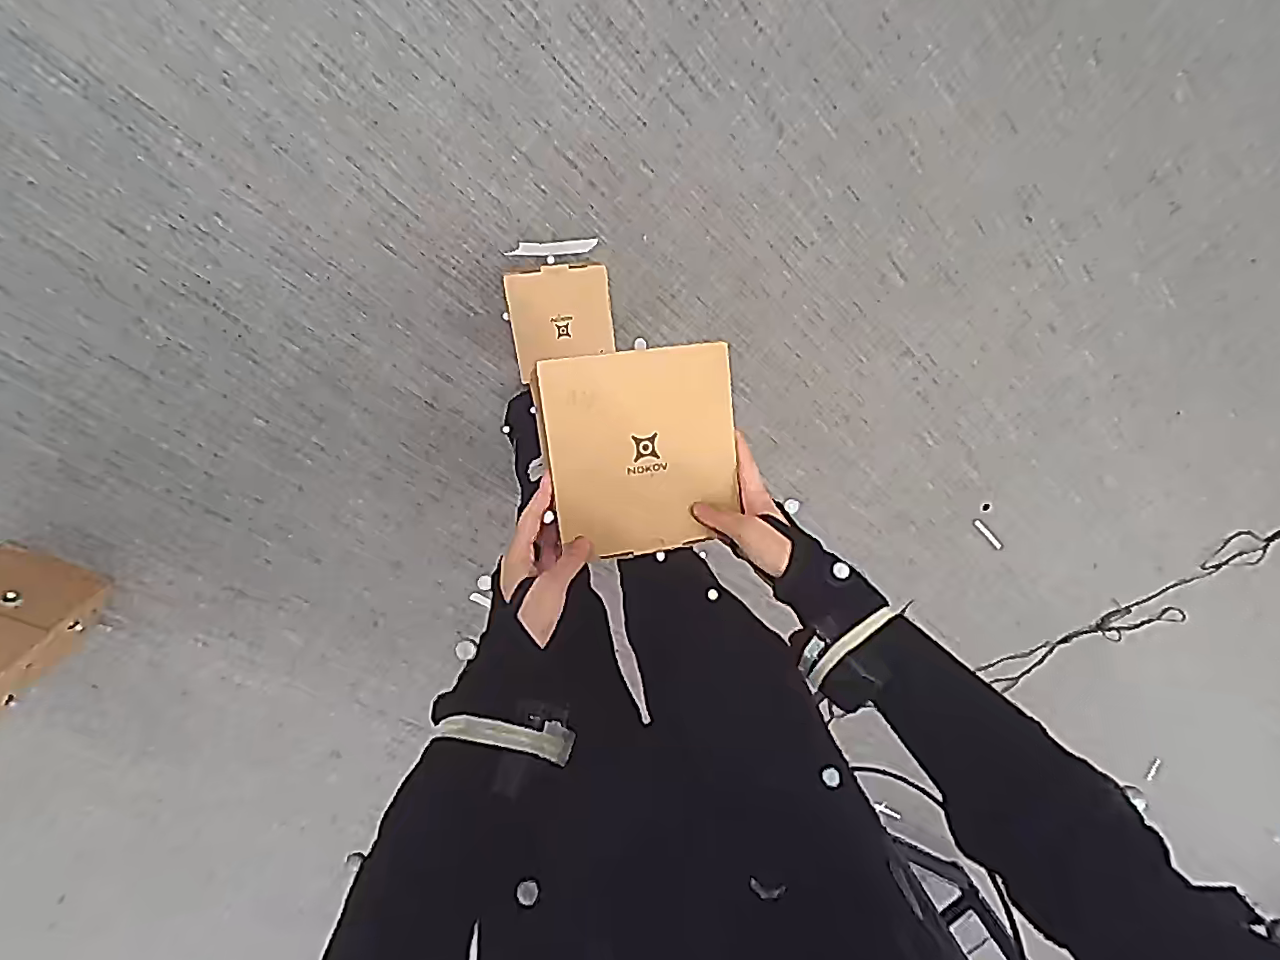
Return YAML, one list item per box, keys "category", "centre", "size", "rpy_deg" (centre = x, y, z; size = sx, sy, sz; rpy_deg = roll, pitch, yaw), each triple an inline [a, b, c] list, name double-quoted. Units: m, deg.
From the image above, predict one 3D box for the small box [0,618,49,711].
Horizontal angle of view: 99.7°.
- category: "small box"
  centre: [-1.074, 0.303, 0.813]
  size: [0.179, 0.176, 0.168]
  rpy_deg: [33, 102, -22]

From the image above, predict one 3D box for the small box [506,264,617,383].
- category: "small box"
  centre: [-0.141, -0.282, 0.953]
  size: [0.168, 0.176, 0.179]
  rpy_deg: [-9, 114, -9]

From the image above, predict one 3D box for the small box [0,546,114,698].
- category: "small box"
  centre: [-1.111, 0.244, 0.963]
  size: [0.179, 0.176, 0.168]
  rpy_deg: [32, 102, -21]
